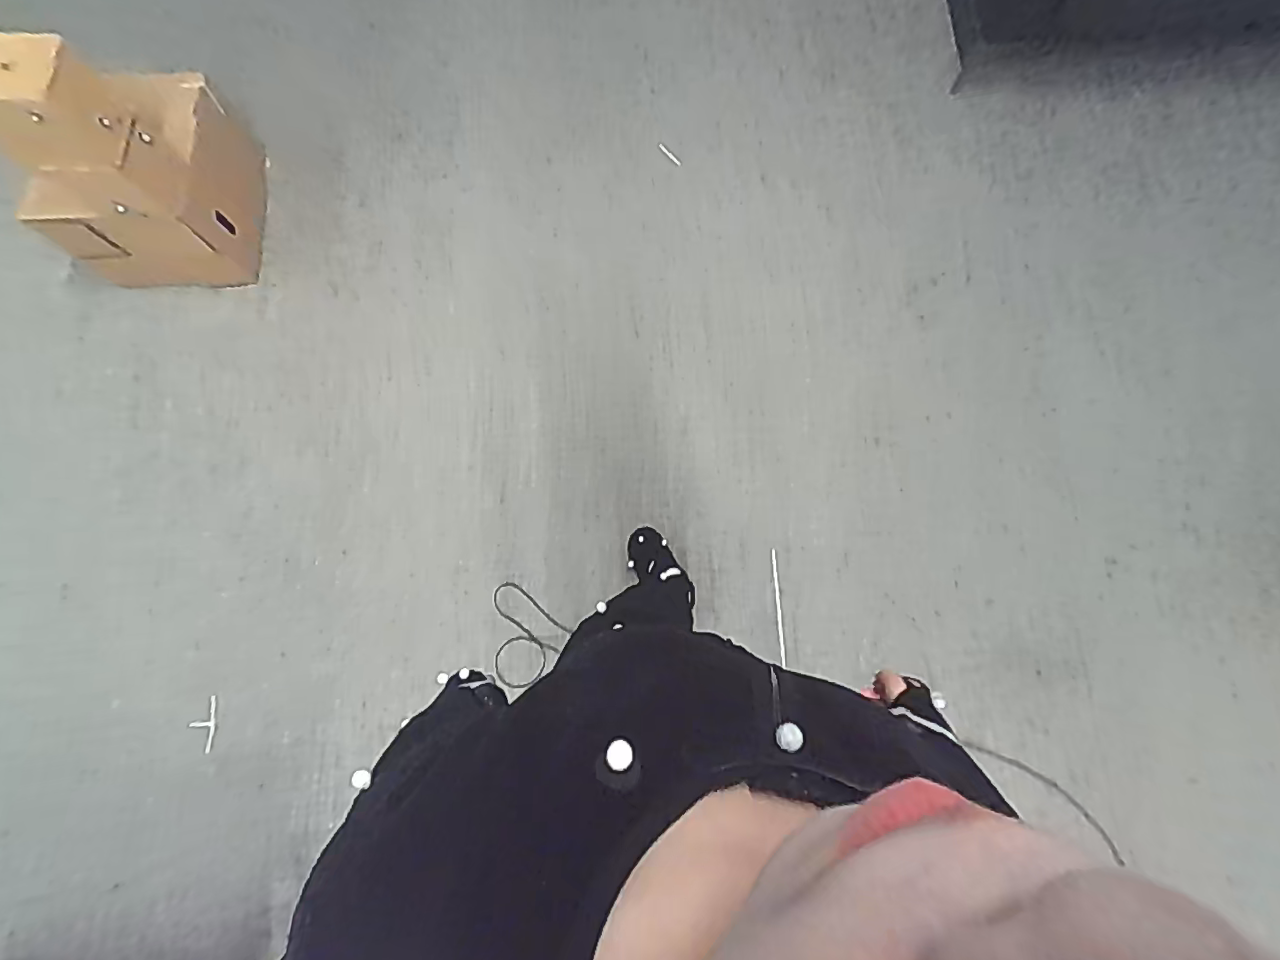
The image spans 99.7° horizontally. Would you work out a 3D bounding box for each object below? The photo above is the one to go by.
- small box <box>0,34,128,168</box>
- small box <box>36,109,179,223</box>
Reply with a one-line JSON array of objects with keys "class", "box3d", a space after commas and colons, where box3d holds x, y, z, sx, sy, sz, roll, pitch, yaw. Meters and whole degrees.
[{"class": "small box", "box3d": [-1.252, -0.787, 1.135, 0.179, 0.176, 0.168, 0, 77, -2]}, {"class": "small box", "box3d": [-1.258, -0.749, 1.293, 0.168, 0.176, 0.179, -1, 77, -1]}]
